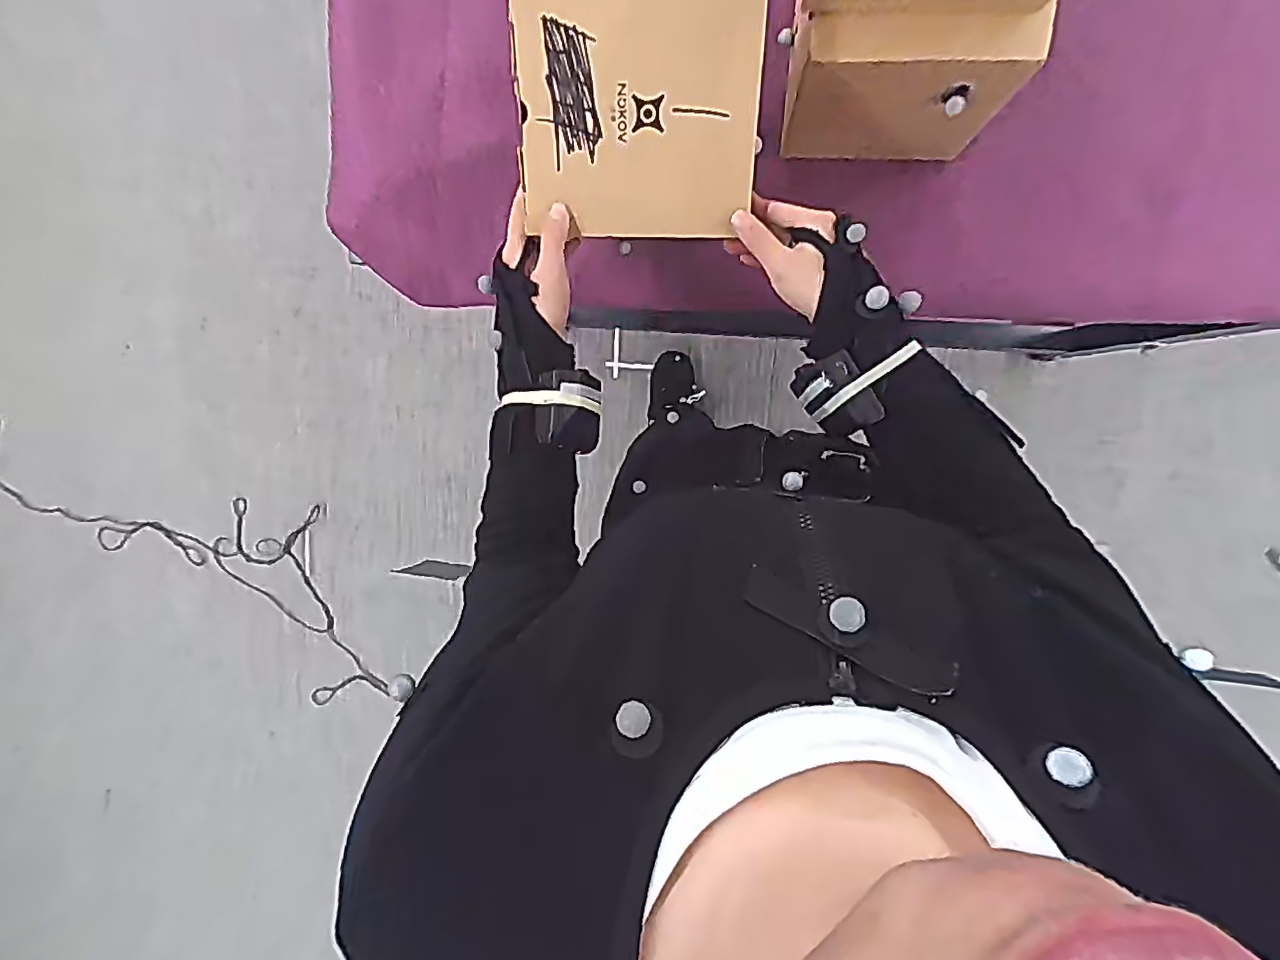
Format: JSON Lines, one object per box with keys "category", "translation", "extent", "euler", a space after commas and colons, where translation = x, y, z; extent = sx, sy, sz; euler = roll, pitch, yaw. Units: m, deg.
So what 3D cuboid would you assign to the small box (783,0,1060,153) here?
{"category": "small box", "translation": [0.231, -0.409, 0.469], "extent": [0.179, 0.176, 0.168], "euler": [6, 98, 8]}
